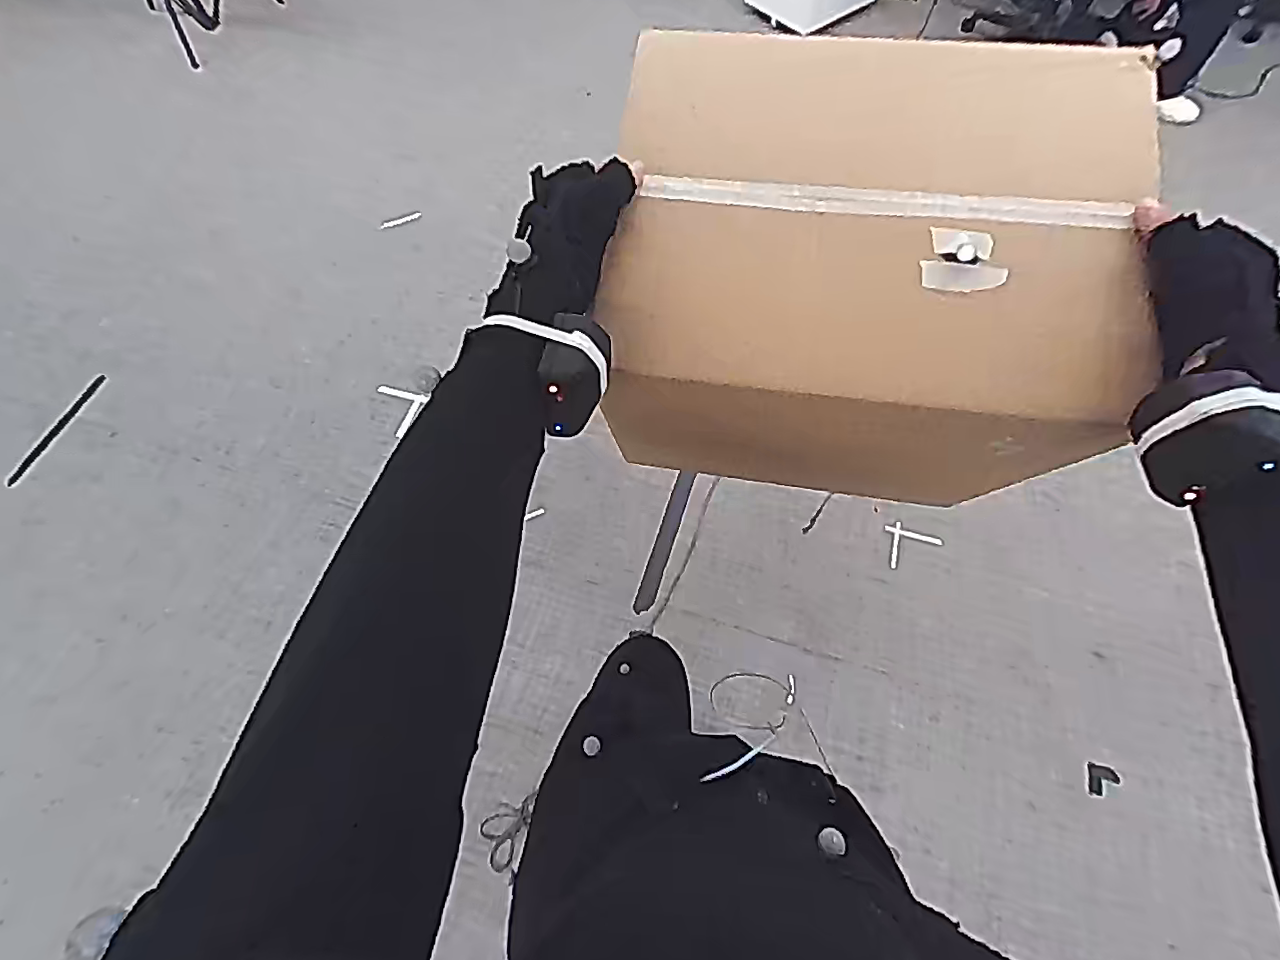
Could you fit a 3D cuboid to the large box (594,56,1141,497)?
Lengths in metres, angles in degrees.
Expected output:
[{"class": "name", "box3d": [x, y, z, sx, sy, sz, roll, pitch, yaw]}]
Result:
[{"class": "large box", "box3d": [0.190, -0.178, 0.575, 0.408, 0.320, 0.320, 8, 80, 7]}]
